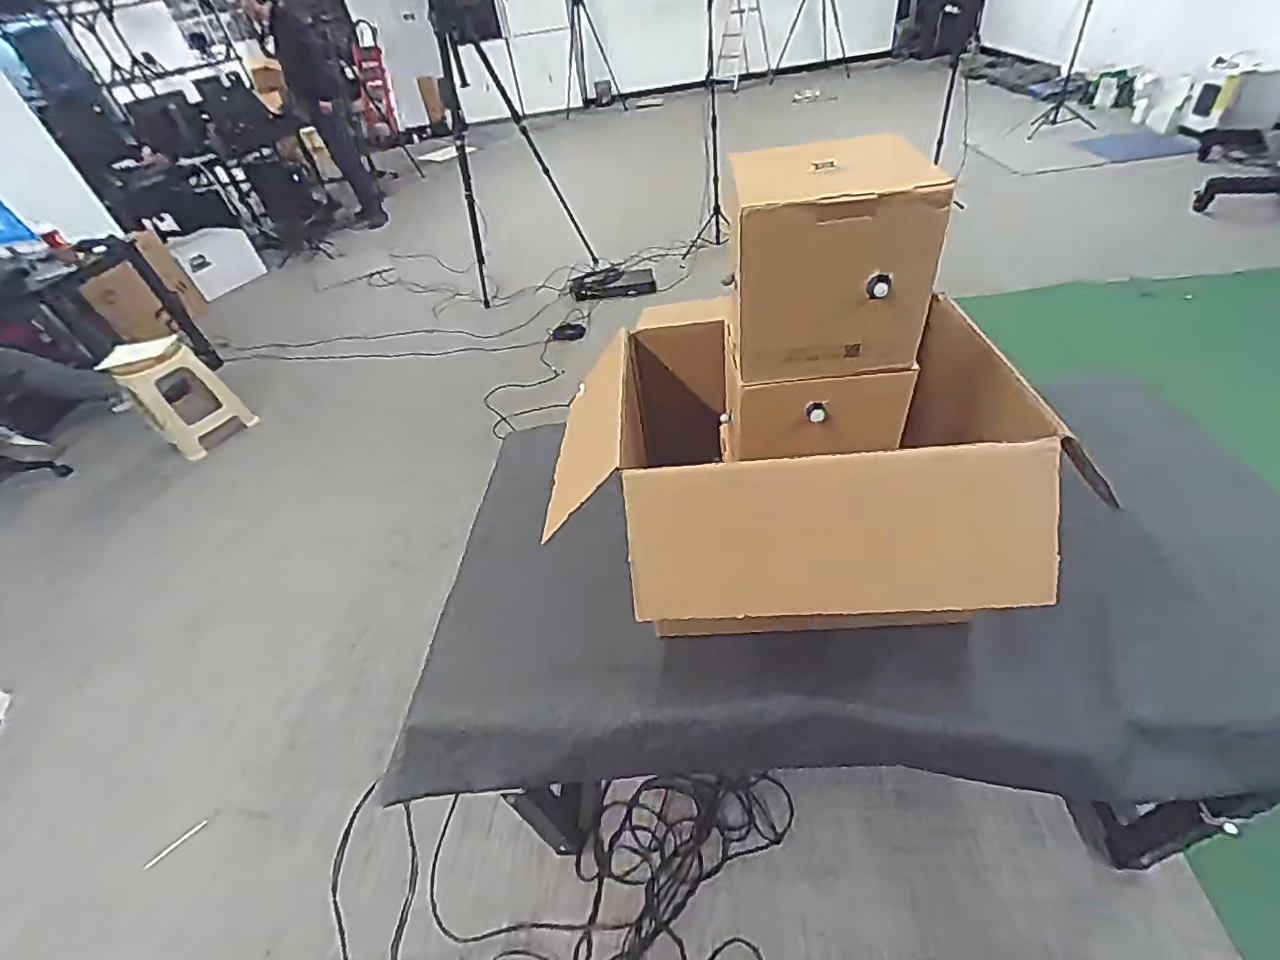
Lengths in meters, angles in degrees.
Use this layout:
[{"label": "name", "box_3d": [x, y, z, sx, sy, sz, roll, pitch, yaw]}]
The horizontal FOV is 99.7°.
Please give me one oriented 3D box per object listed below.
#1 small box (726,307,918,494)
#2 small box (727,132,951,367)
[{"label": "small box", "box_3d": [0.196, -0.100, 0.642, 0.179, 0.176, 0.168, -4, 43, 6]}, {"label": "small box", "box_3d": [0.175, -0.223, 0.539, 0.168, 0.176, 0.179, -3, 42, 6]}]
